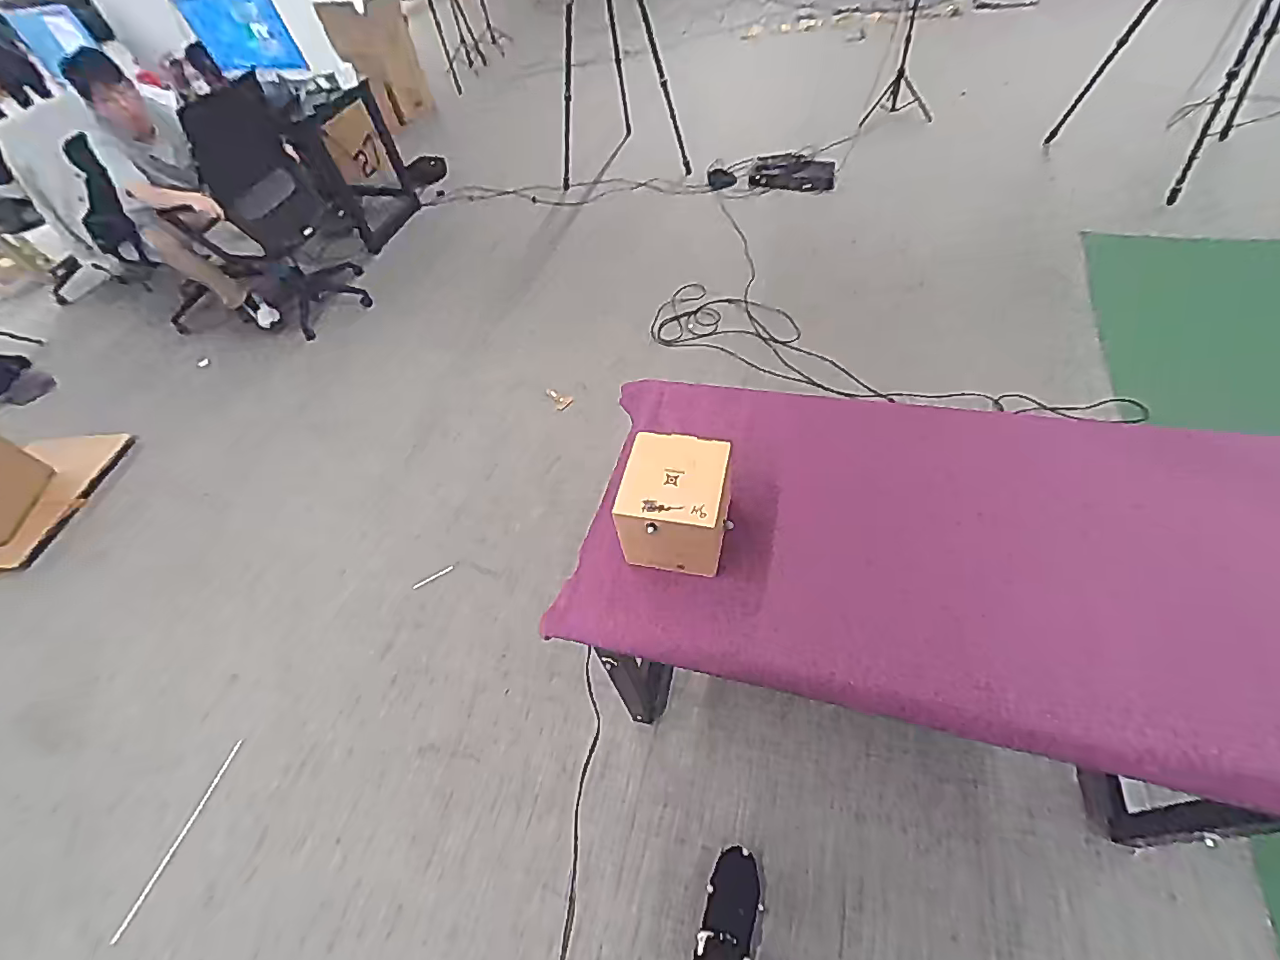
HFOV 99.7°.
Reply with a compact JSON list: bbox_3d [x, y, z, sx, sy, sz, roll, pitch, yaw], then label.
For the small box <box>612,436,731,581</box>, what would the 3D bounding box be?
[{"bbox_3d":[0.062,0.049,0.939,0.168,0.176,0.179,7,54,15],"label":"small box"}]
